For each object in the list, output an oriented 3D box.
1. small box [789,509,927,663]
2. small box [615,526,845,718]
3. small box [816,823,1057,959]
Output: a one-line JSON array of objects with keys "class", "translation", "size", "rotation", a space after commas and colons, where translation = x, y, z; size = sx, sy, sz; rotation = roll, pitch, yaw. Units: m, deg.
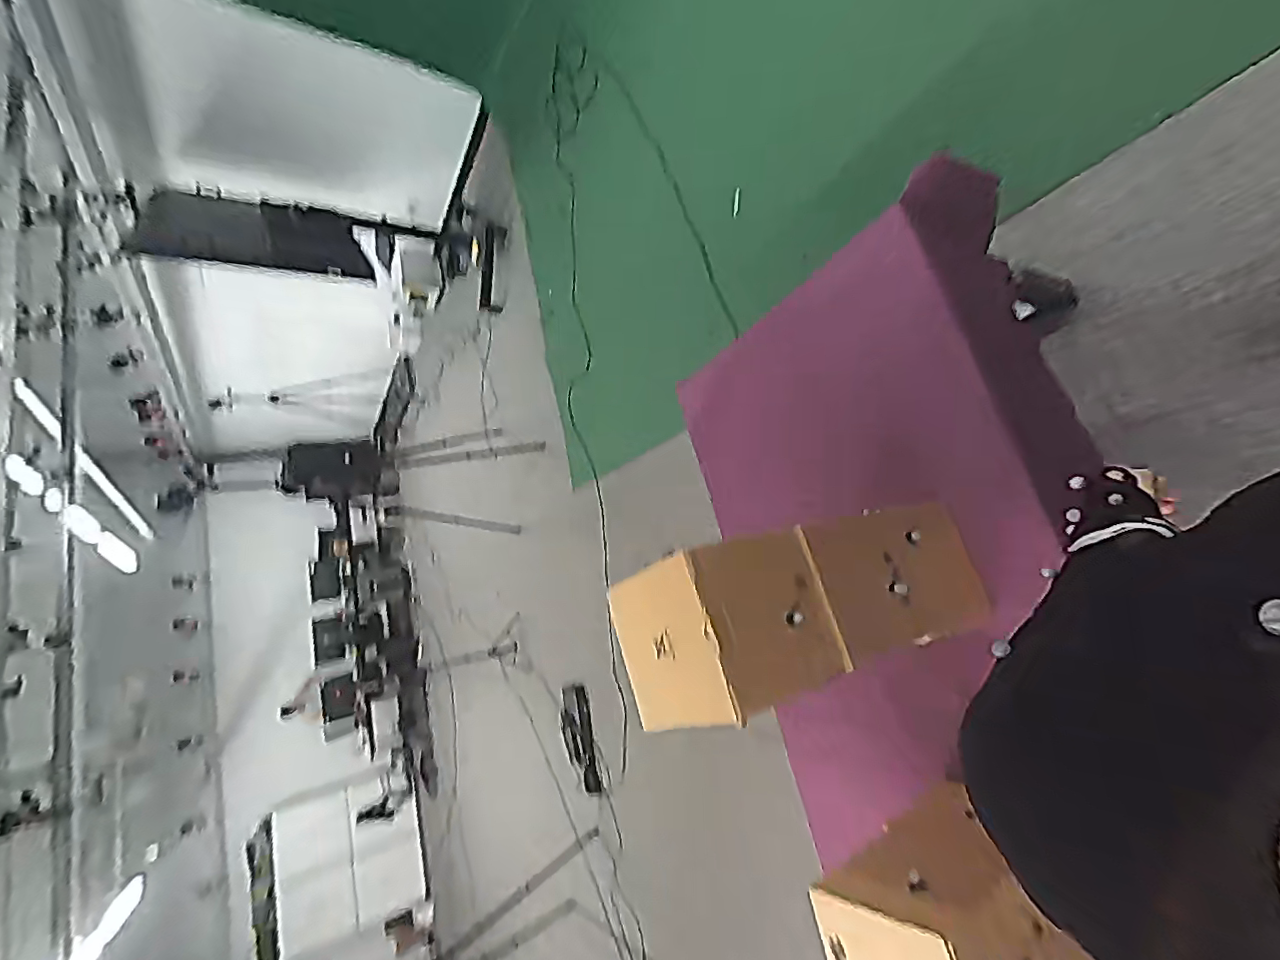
[{"class": "small box", "translation": [0.235, 0.146, 0.718], "size": [0.179, 0.176, 0.168], "rotation": [-36, 65, 51]}, {"class": "small box", "translation": [0.099, 0.163, 0.631], "size": [0.179, 0.176, 0.168], "rotation": [-40, 63, 50]}, {"class": "small box", "translation": [0.340, 0.519, 0.611], "size": [0.179, 0.176, 0.168], "rotation": [-32, 67, 52]}]
